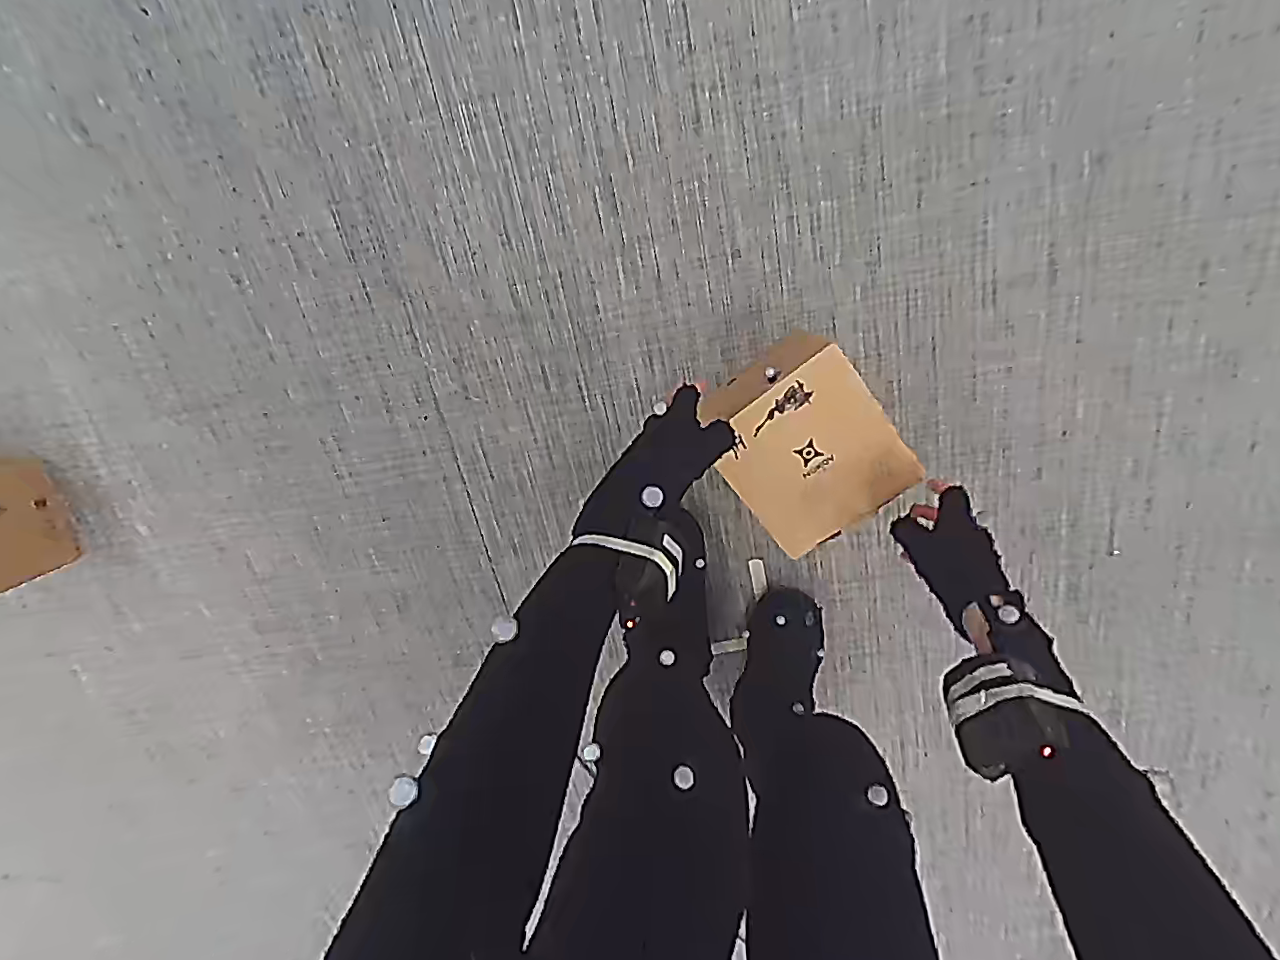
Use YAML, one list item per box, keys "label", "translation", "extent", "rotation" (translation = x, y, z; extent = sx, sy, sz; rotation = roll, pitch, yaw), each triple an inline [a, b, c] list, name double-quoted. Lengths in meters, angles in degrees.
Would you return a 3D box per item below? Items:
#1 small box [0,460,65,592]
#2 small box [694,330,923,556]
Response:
- label: "small box"
  translation: [-0.970, 0.070, 0.752]
  extent: [0.179, 0.176, 0.168]
  rotation: [3, 108, 4]
- label: "small box"
  translation: [0.178, -0.052, 0.622]
  extent: [0.168, 0.176, 0.179]
  rotation: [-37, 104, 15]
